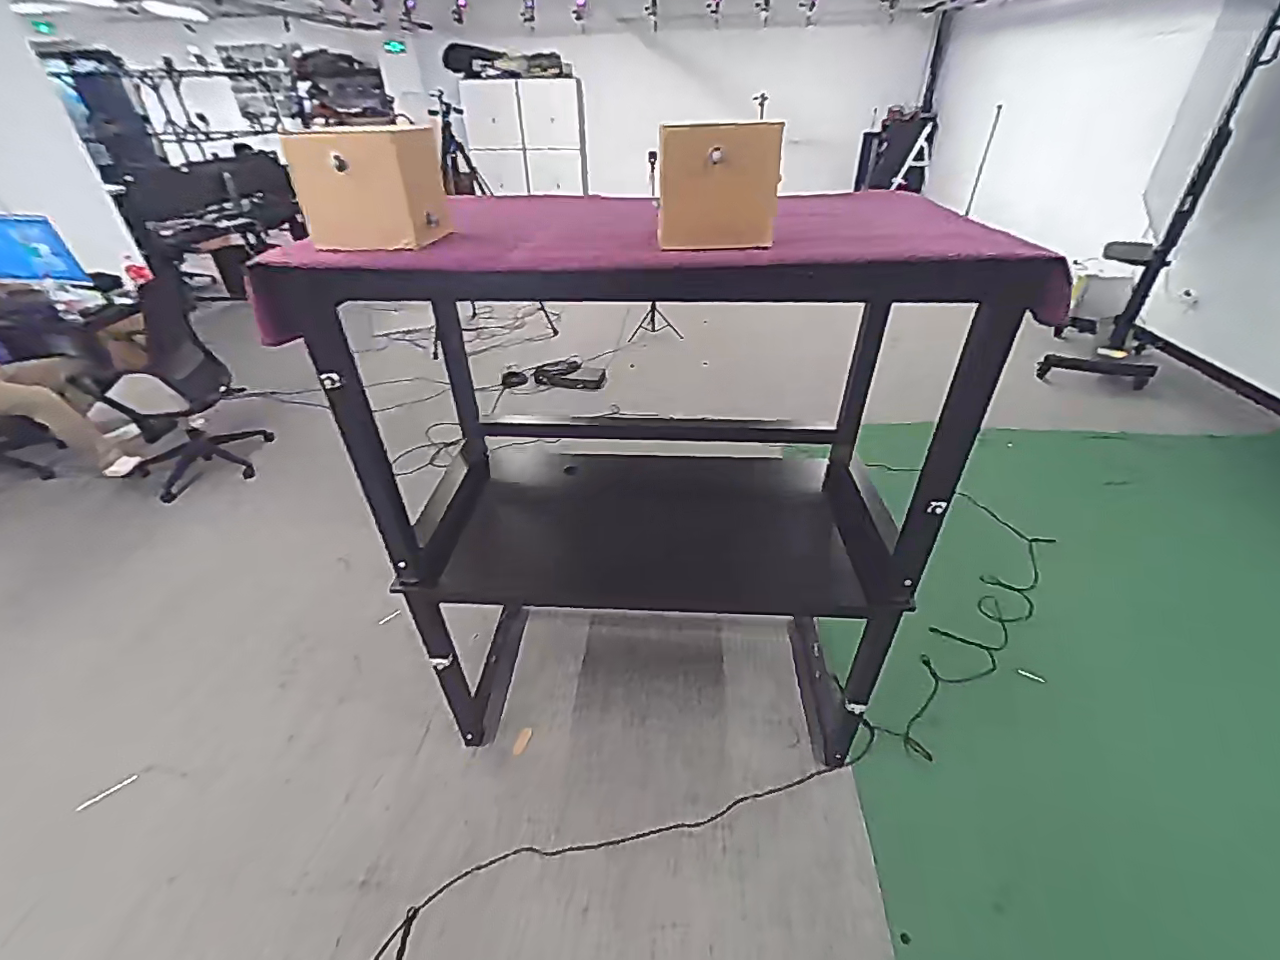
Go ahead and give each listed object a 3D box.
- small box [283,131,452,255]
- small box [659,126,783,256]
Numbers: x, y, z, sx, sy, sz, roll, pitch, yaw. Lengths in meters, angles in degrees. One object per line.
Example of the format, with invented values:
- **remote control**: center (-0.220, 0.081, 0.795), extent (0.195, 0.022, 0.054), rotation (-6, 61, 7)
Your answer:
- **small box**: center (-0.437, -0.479, 0.902), extent (0.179, 0.176, 0.168), rotation (2, 35, 3)
- **small box**: center (0.120, -0.470, 0.878), extent (0.179, 0.176, 0.168), rotation (-2, 34, 1)
